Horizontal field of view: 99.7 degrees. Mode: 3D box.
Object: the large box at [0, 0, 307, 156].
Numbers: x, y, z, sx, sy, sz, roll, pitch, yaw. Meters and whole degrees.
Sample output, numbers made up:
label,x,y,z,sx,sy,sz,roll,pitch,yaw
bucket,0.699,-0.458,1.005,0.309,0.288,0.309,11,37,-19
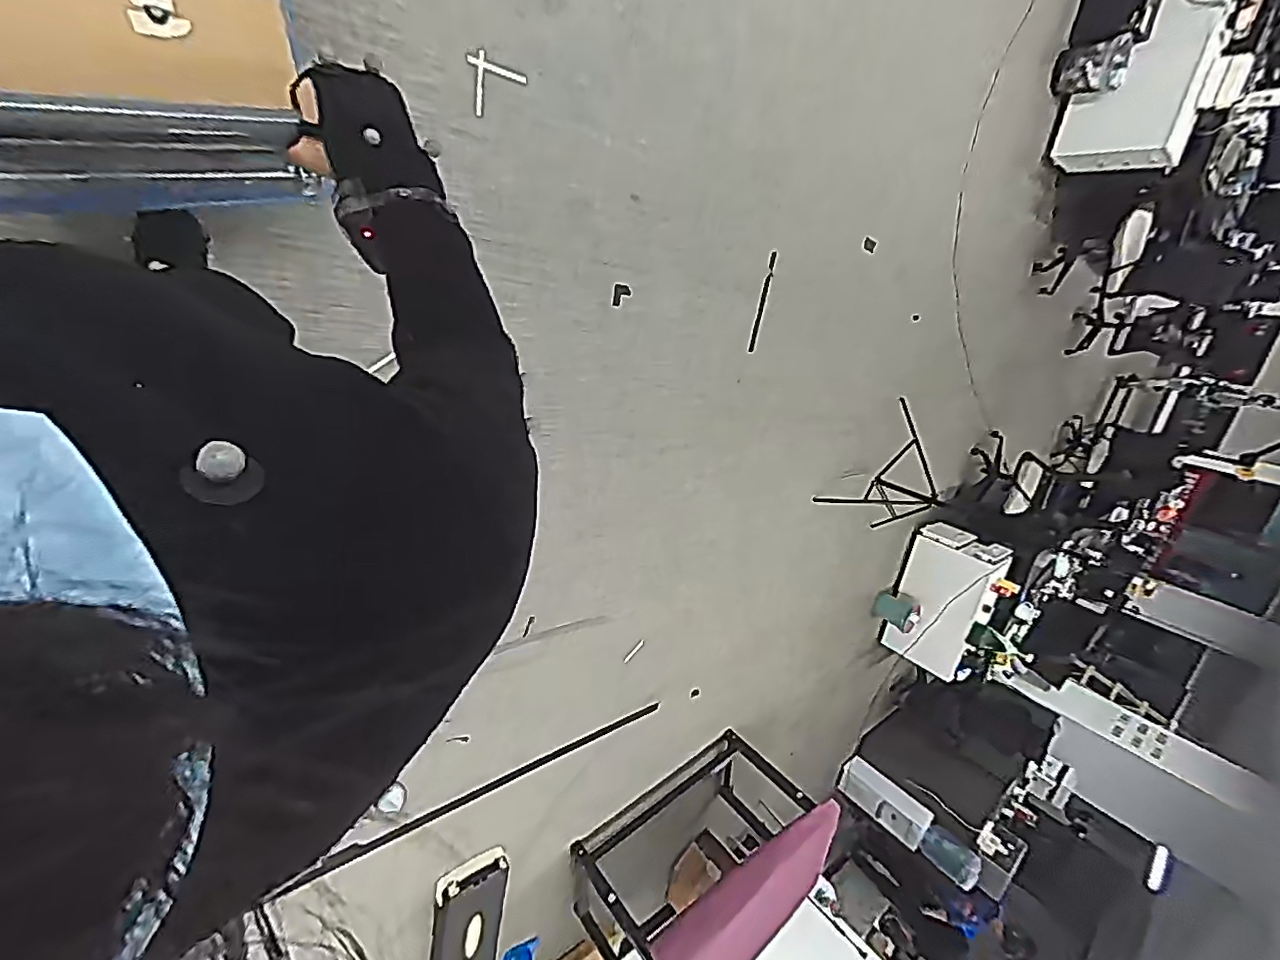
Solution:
label,x,y,z,sx,sy,sz,roll,pitch,yaw
large box,-0.724,-0.609,0.693,0.408,0.320,0.320,-22,123,-34
